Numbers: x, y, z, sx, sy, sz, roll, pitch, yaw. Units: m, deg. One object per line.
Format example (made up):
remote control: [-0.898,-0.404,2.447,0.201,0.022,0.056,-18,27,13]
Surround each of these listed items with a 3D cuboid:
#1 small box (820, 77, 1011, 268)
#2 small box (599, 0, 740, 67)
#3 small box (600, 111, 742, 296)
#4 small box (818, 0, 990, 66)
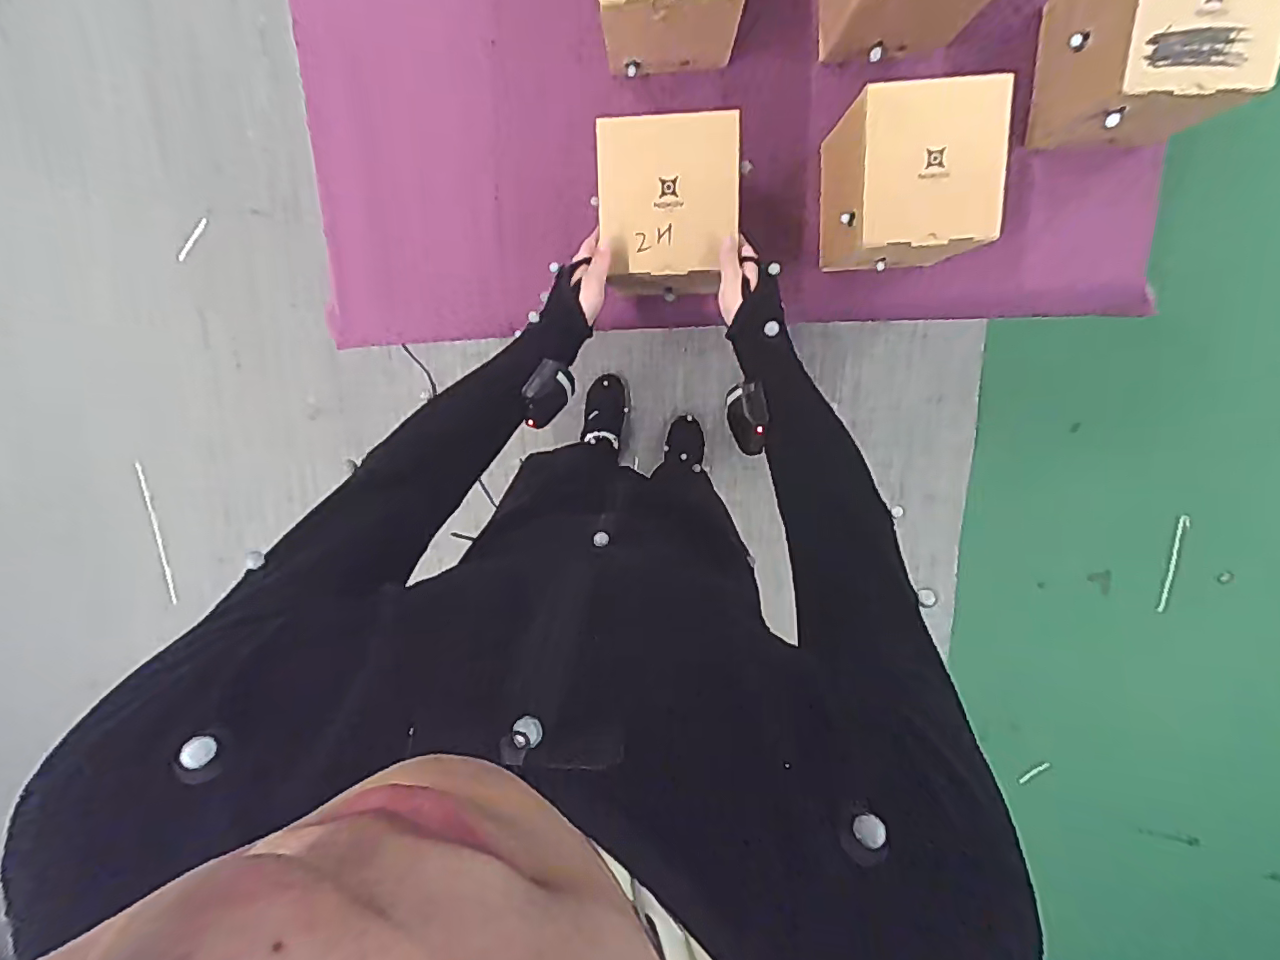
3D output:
small box: [0.343,-0.386,0.708,0.168,0.176,0.179,-3,103,1]
small box: [0.034,-0.632,0.652,0.168,0.176,0.179,-3,103,1]
small box: [0.039,-0.347,0.708,0.168,0.176,0.179,0,100,4]
small box: [0.319,-0.642,0.647,0.168,0.176,0.179,-3,105,3]
